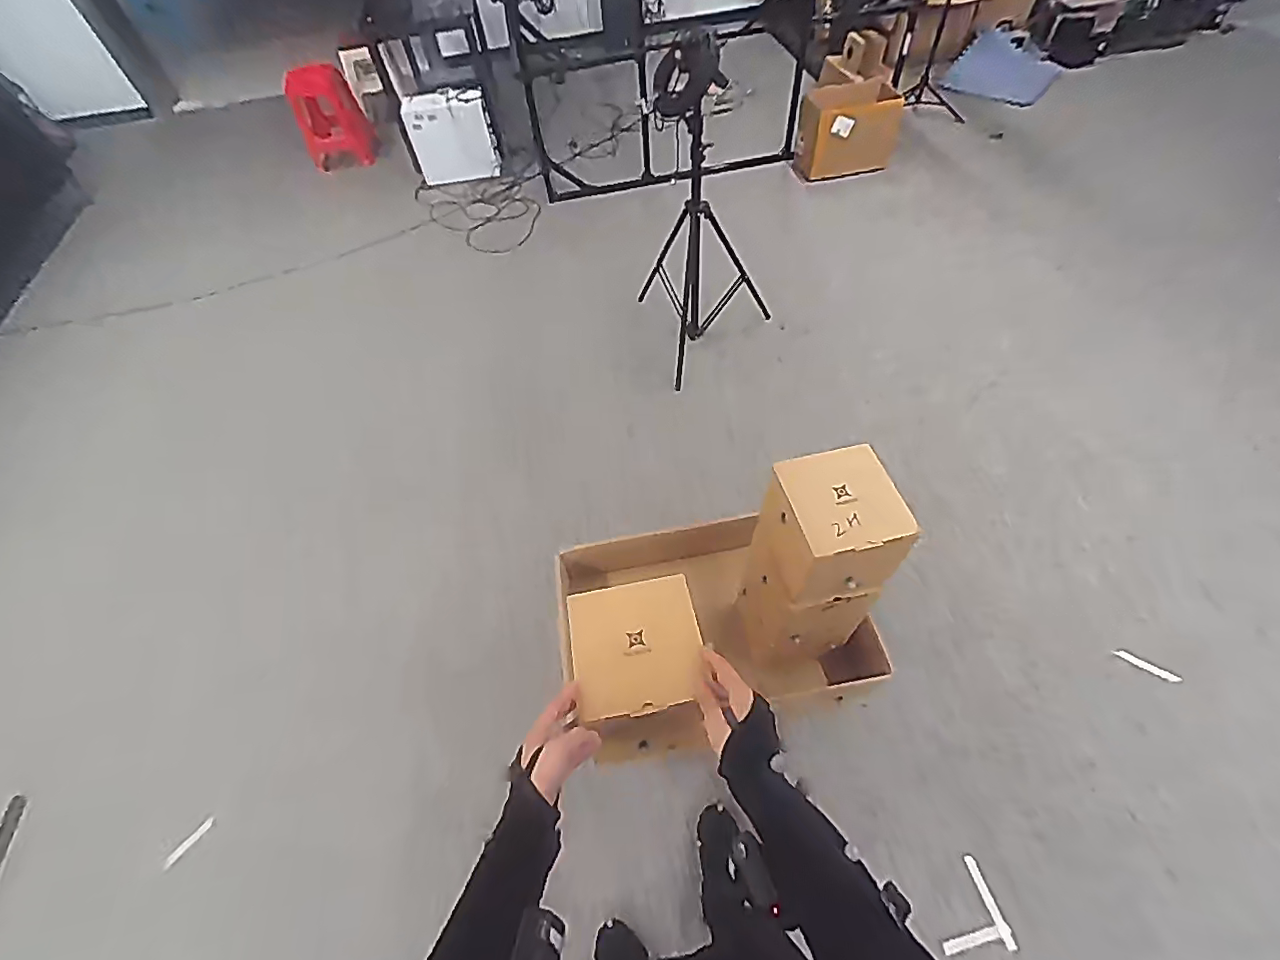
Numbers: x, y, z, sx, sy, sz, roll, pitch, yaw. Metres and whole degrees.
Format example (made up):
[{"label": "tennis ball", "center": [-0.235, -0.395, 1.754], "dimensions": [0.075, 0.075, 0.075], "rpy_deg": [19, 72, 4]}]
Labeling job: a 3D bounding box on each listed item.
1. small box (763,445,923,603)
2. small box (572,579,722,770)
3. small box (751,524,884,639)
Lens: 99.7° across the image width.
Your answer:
[{"label": "small box", "center": [0.311, 0.074, 0.874], "dimensions": [0.168, 0.176, 0.179], "rpy_deg": [-13, 56, -4]}, {"label": "small box", "center": [0.006, 0.264, 0.733], "dimensions": [0.168, 0.176, 0.179], "rpy_deg": [-10, 48, -4]}, {"label": "small box", "center": [0.315, 0.180, 1.001], "dimensions": [0.168, 0.176, 0.179], "rpy_deg": [-12, 55, -5]}]
